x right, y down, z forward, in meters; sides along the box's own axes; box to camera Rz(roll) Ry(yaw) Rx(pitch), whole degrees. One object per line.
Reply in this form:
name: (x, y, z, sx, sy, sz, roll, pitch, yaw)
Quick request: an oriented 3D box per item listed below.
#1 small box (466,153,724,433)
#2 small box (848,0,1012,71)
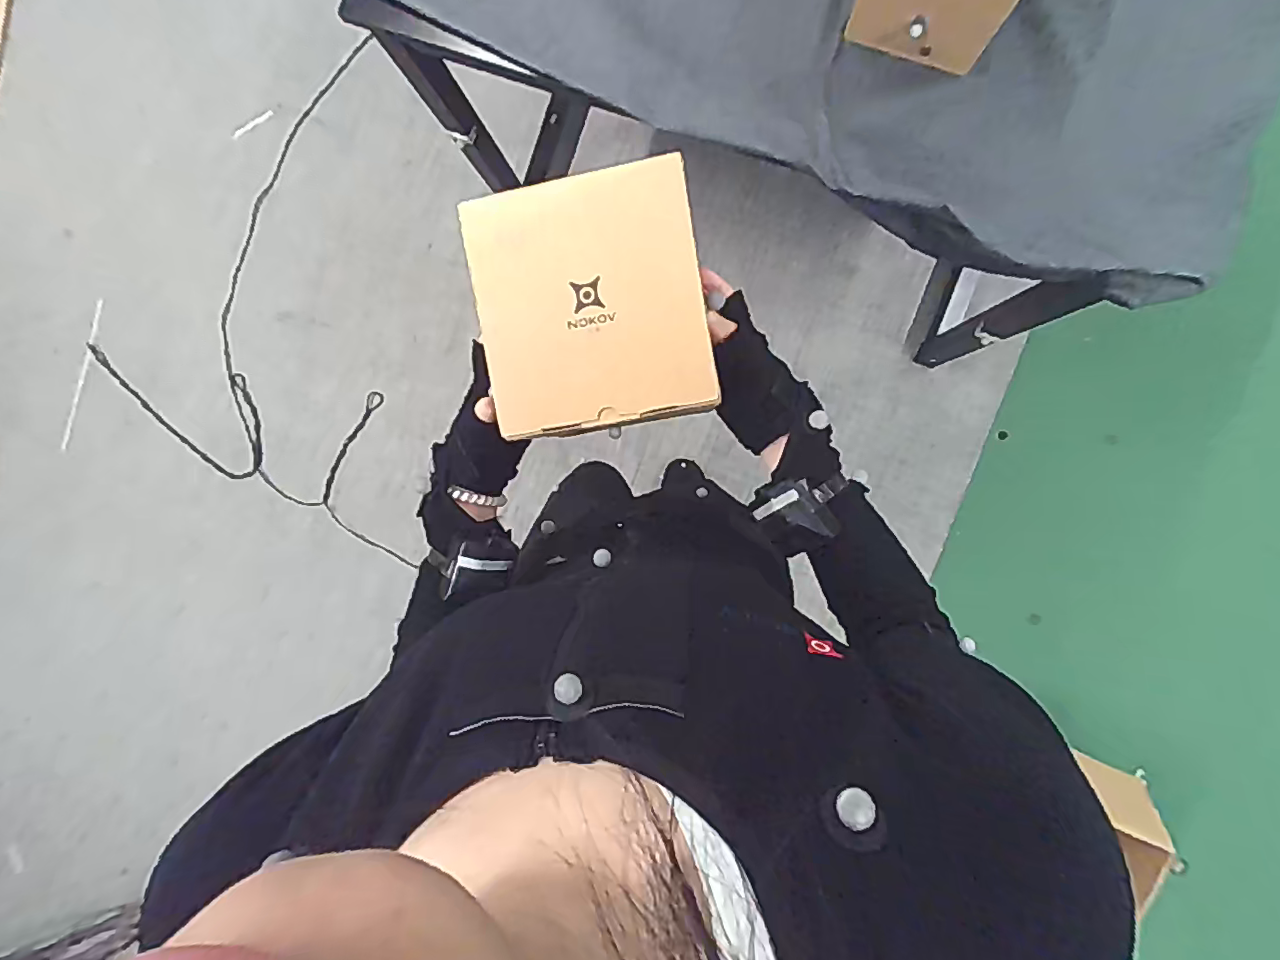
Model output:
small box: (-0.028, -0.140, 0.469, 0.168, 0.176, 0.179, -10, 96, 5)
small box: (0.361, -0.628, 0.614, 0.168, 0.176, 0.179, 22, 94, 4)
